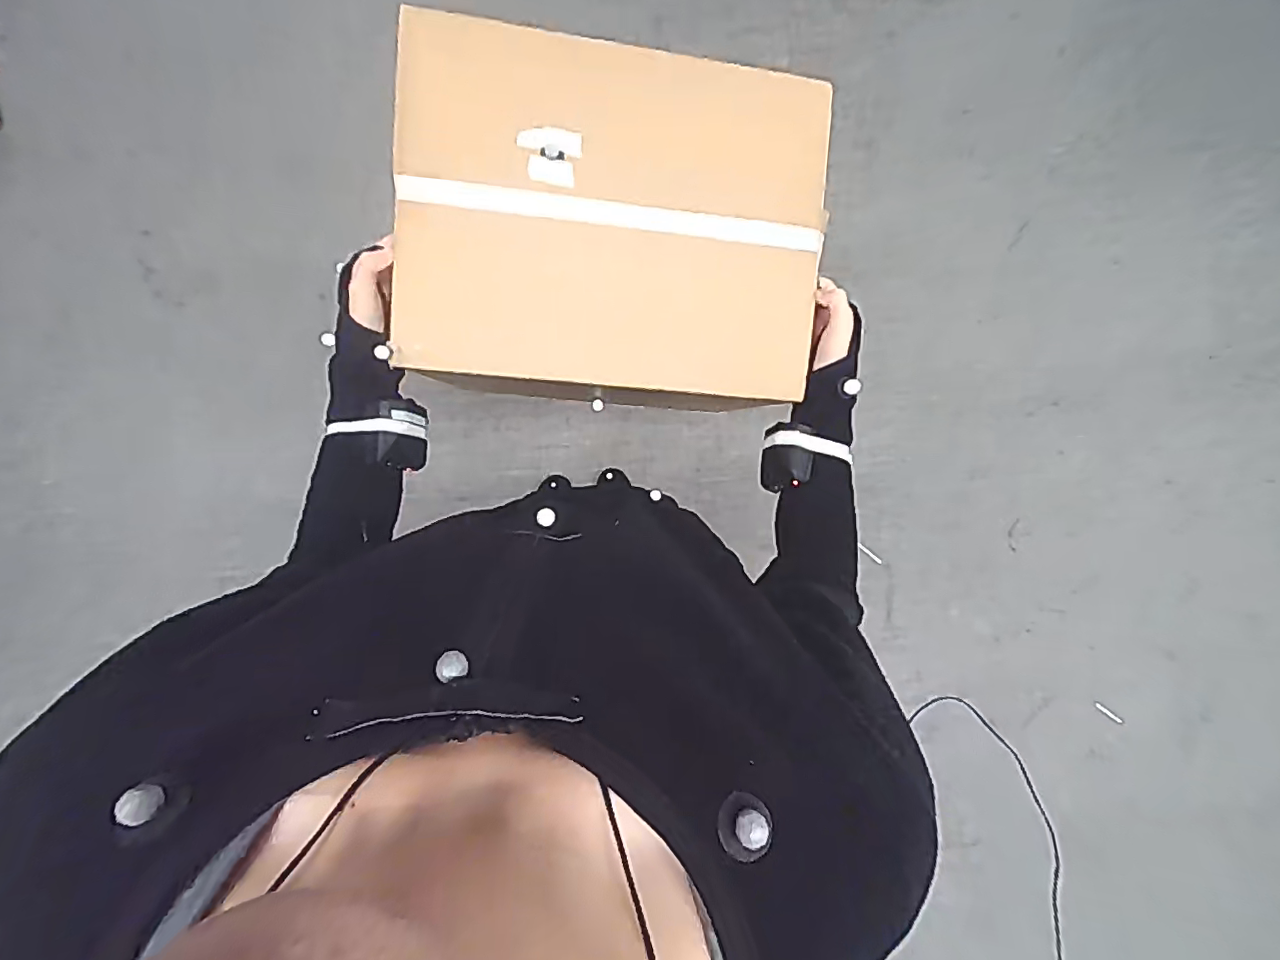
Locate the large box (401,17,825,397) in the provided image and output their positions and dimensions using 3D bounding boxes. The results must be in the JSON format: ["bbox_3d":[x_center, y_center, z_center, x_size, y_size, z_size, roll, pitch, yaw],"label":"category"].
[{"bbox_3d":[-0.039,-0.272,0.670,0.408,0.320,0.320,4,95,-8],"label":"large box"}]
